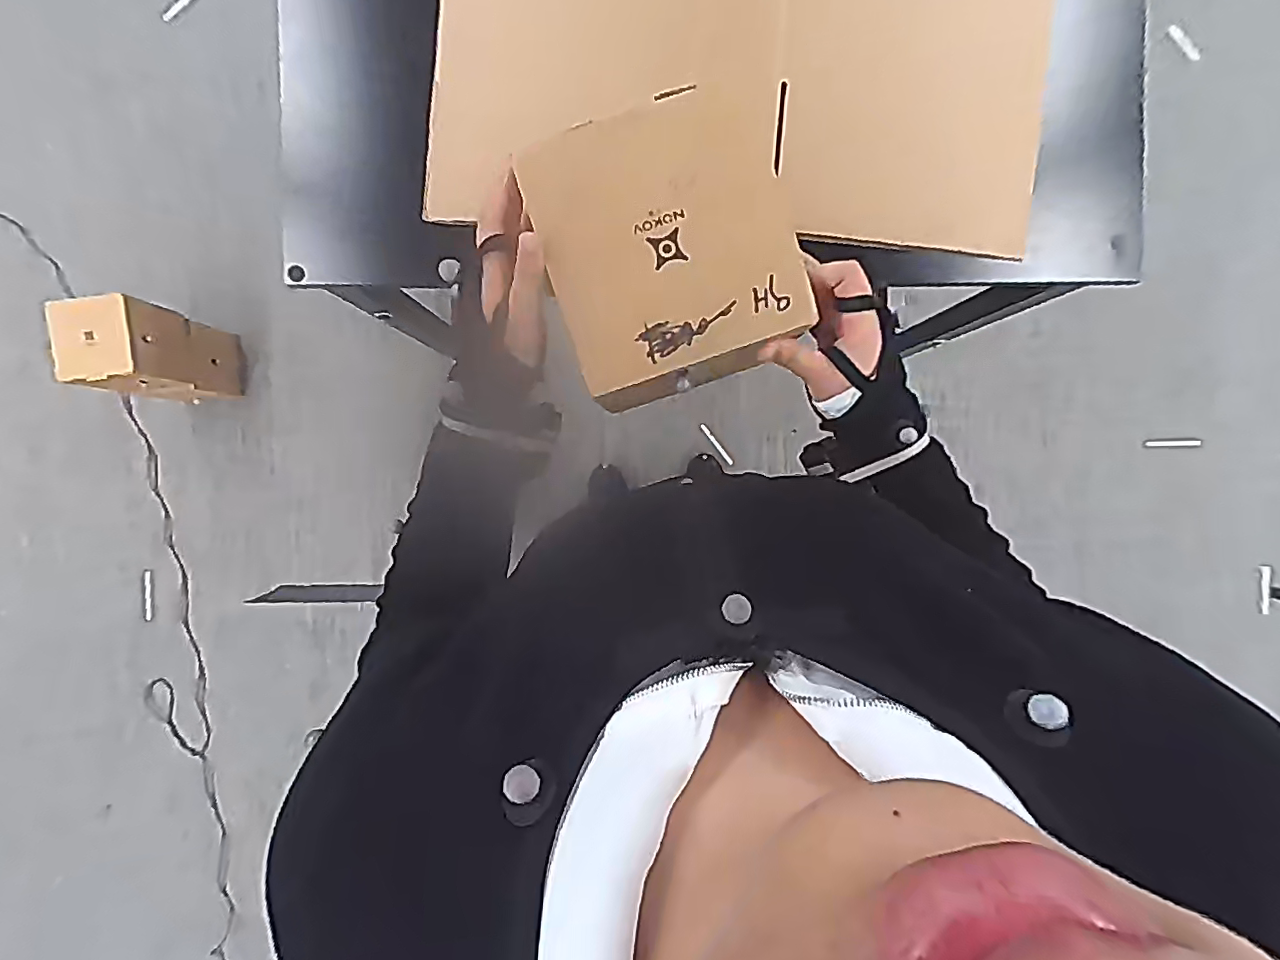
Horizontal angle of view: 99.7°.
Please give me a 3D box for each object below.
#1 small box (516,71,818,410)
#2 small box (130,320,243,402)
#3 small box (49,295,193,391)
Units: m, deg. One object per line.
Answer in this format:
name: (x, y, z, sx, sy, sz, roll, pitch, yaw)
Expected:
small box: (0.019, -0.168, 0.441, 0.168, 0.176, 0.179, -18, 92, 3)
small box: (-1.171, -0.302, 1.398, 0.168, 0.176, 0.179, -4, 92, 0)
small box: (-1.172, -0.303, 1.235, 0.168, 0.176, 0.179, -8, 91, -1)
